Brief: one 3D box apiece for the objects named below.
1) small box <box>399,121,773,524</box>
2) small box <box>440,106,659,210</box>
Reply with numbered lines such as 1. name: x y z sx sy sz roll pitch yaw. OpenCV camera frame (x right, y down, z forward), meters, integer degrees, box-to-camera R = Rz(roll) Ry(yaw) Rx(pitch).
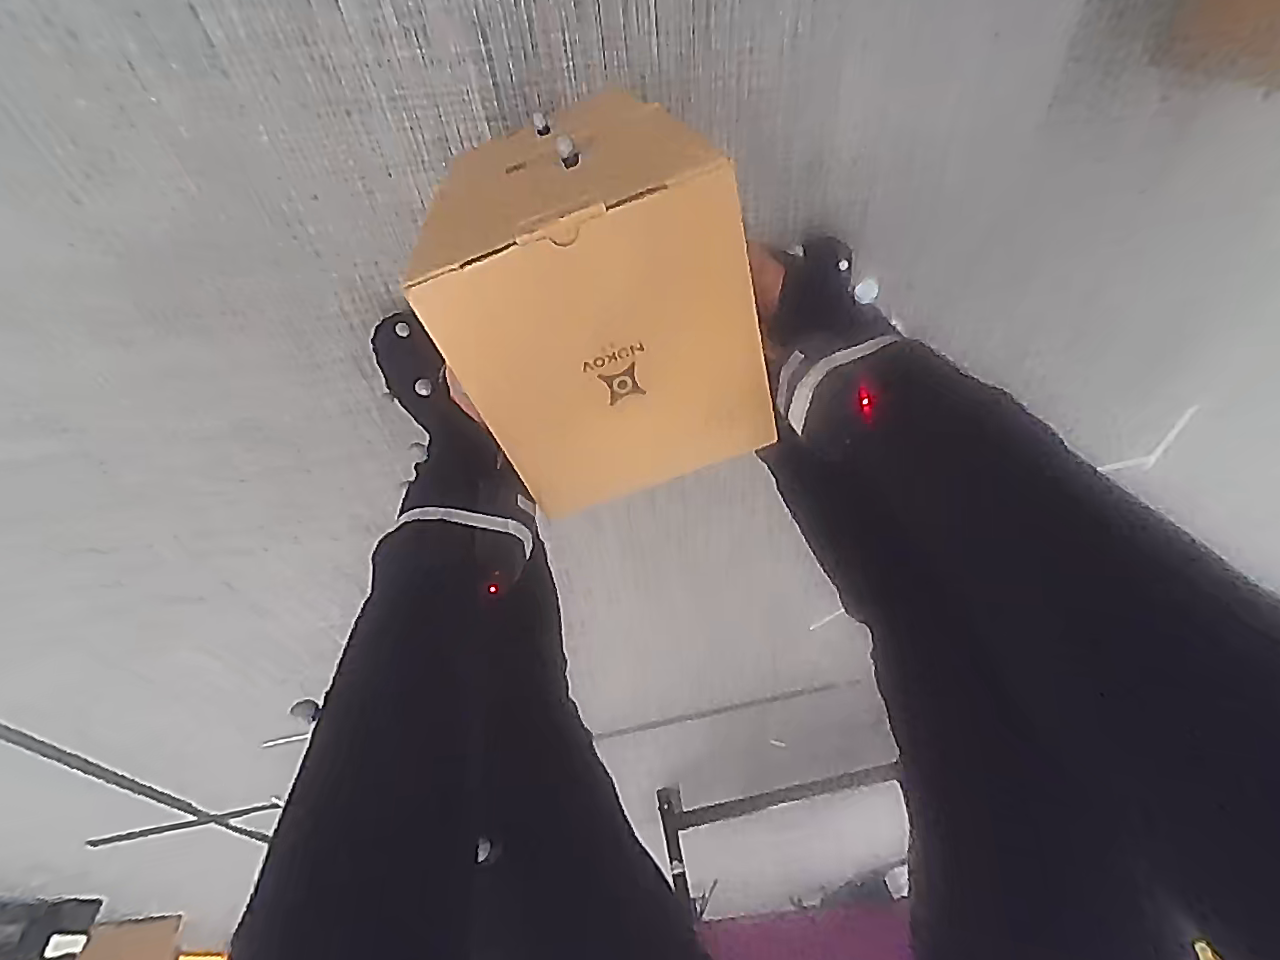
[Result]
1. small box: -0.025 -0.106 0.361 0.168 0.176 0.179 -19 131 4
2. small box: -0.056 -0.208 0.485 0.168 0.176 0.179 -20 132 4
